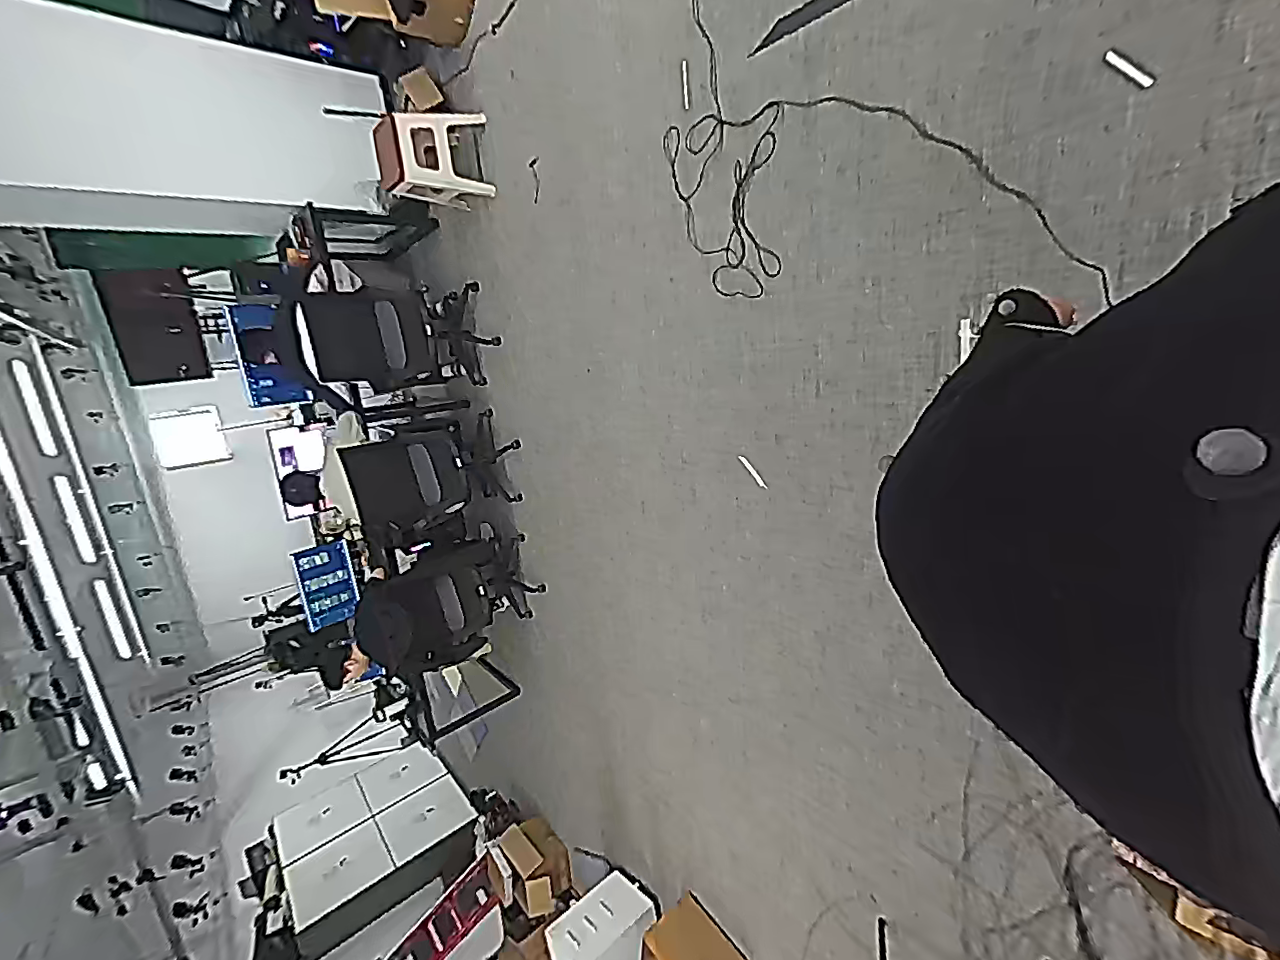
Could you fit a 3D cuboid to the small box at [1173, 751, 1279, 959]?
[{"bbox_3d":[0.841,0.505,0.711,0.168,0.176,0.179,12,109,49],"label":"small box"}]
